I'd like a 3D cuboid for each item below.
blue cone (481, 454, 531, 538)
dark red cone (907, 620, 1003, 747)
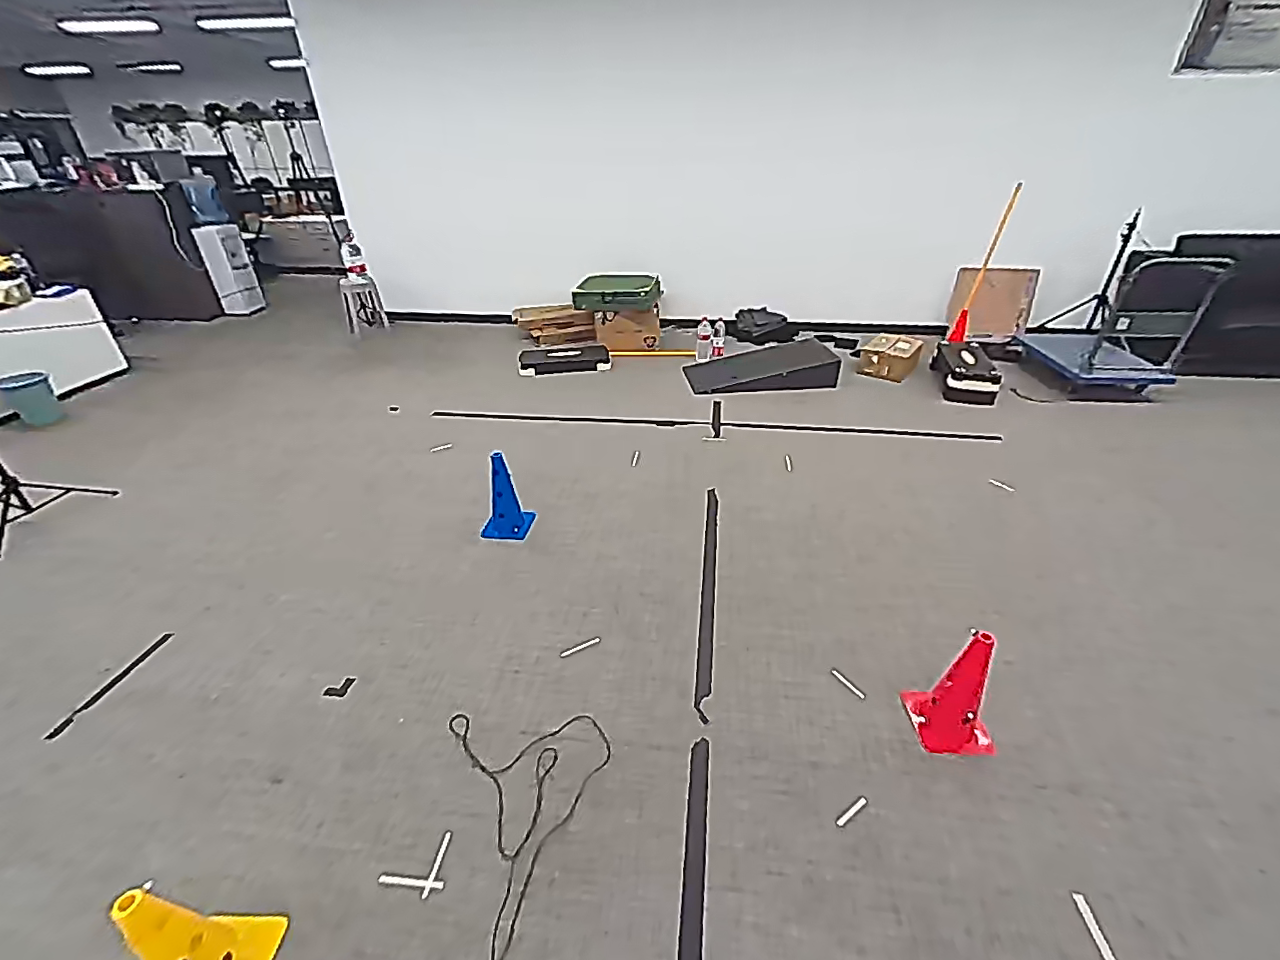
[{"bbox_3d":[-0.591,0.059,2.294,0.192,0.380,0.193,3,32,8],"label":"blue cone"},{"bbox_3d":[0.885,0.525,1.454,0.201,0.394,0.202,-2,32,1],"label":"dark red cone"}]
